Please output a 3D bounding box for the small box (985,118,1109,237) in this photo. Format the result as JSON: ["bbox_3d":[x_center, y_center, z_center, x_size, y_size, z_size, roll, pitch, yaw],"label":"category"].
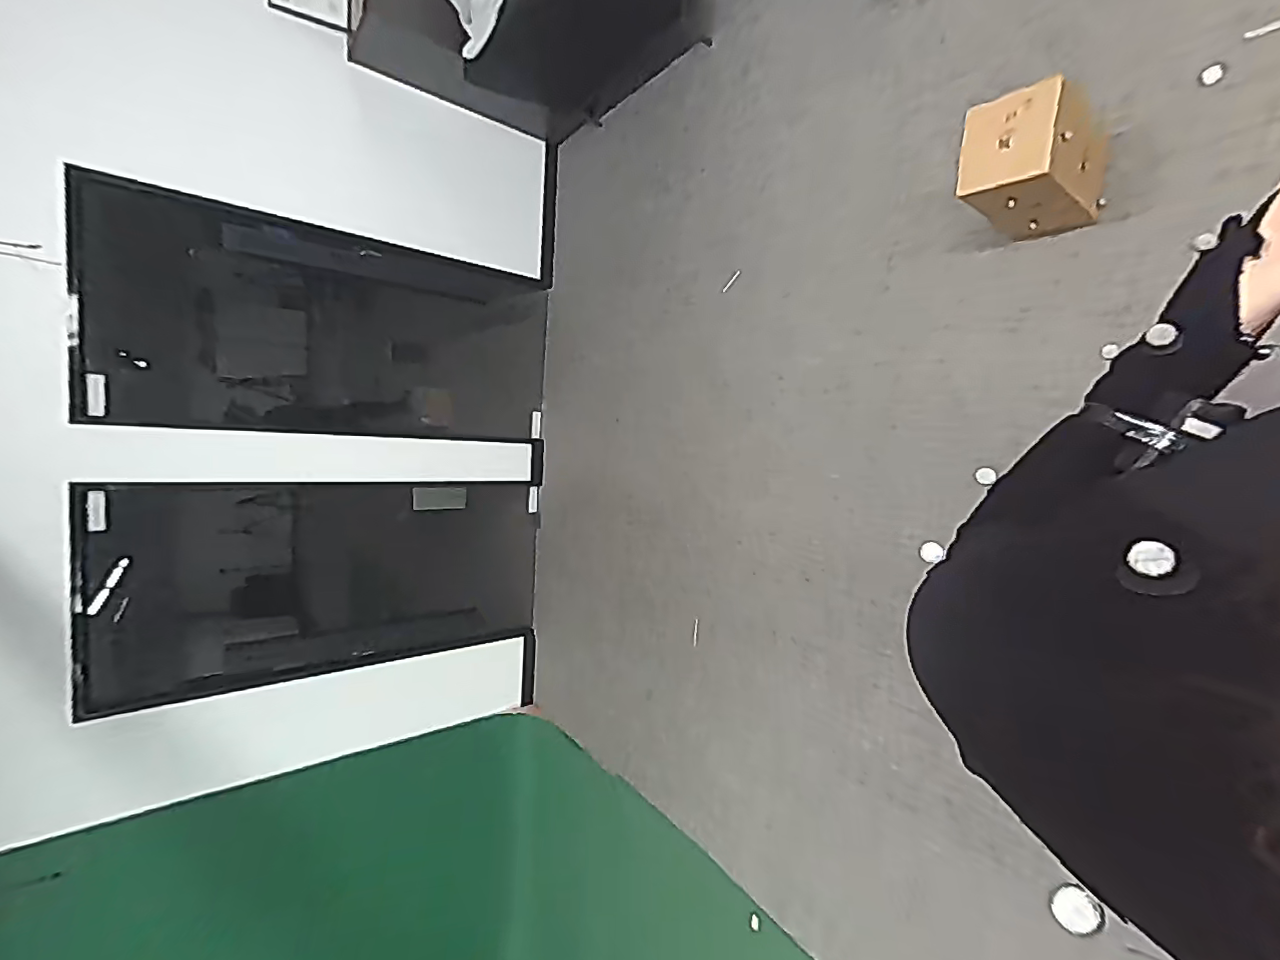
[{"bbox_3d":[0.913,-0.666,1.213,0.179,0.176,0.168,12,100,53],"label":"small box"}]

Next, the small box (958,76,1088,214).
[{"bbox_3d":[0.786,-0.667,1.108,0.168,0.176,0.179,12,100,52],"label":"small box"}]
